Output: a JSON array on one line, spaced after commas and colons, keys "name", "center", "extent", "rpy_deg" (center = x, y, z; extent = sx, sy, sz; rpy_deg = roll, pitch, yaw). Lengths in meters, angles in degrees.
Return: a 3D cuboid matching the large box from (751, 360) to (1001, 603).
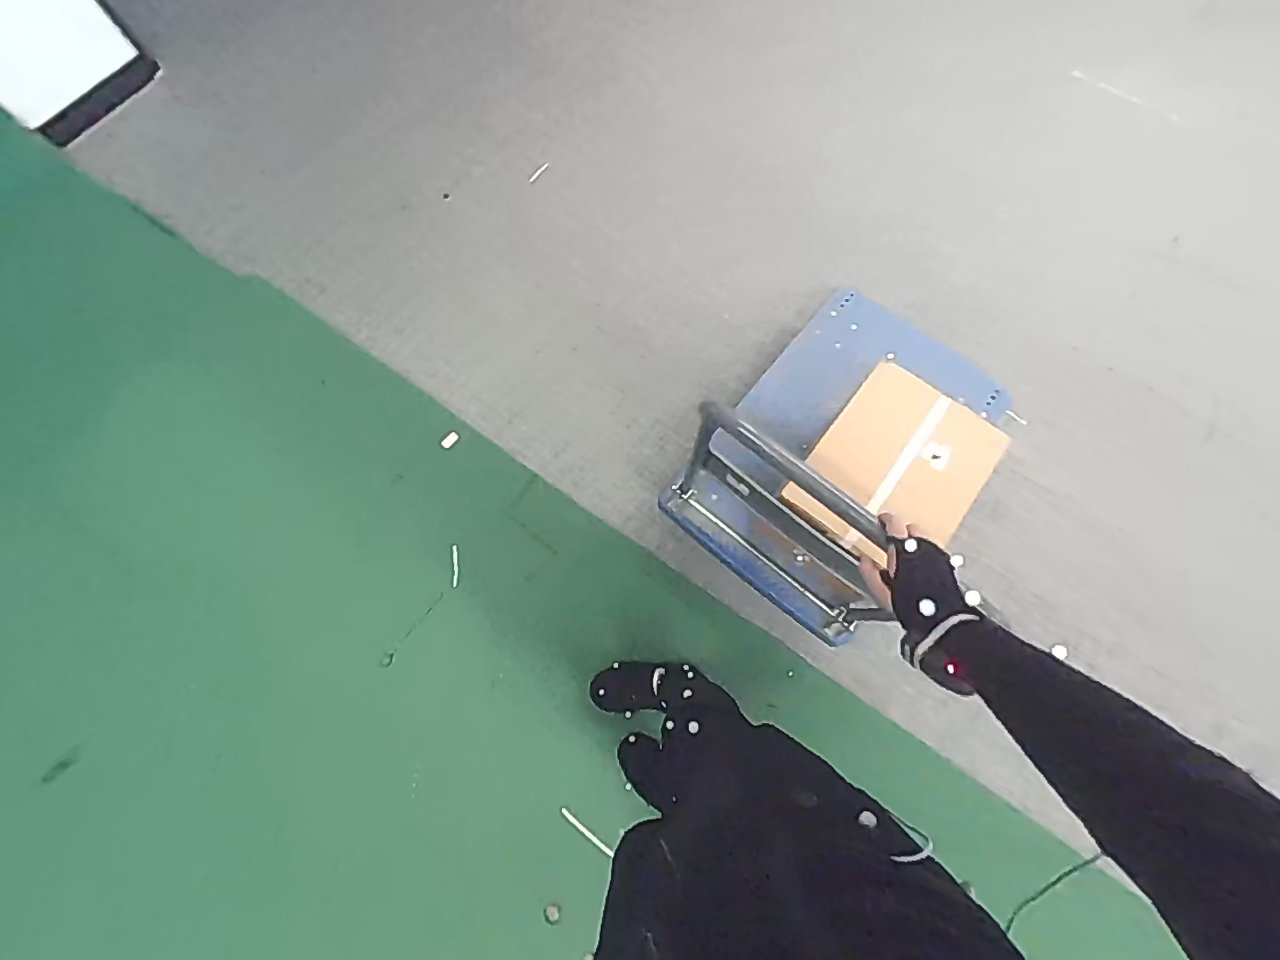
[{"name": "large box", "center": [0.512, 0.020, 1.242], "extent": [0.320, 0.320, 0.408], "rpy_deg": [37, 75, 9]}]
